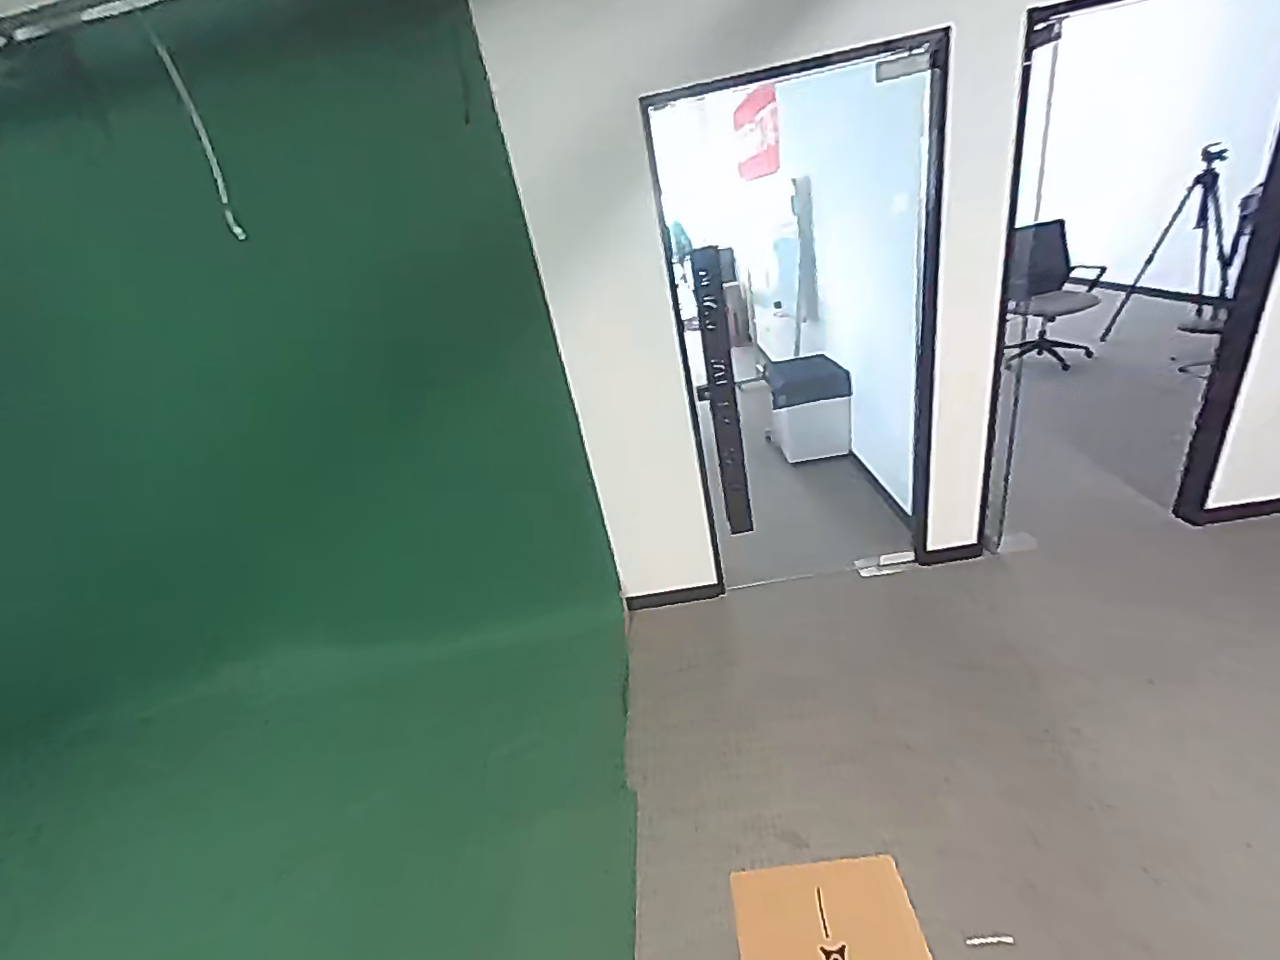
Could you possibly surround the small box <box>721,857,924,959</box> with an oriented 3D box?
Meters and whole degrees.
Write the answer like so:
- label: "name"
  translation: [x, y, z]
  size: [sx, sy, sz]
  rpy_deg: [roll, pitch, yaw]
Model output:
- label: "small box"
  translation: [0.175, 0.489, 0.495]
  size: [0.168, 0.176, 0.179]
  rpy_deg: [-9, 29, 4]
